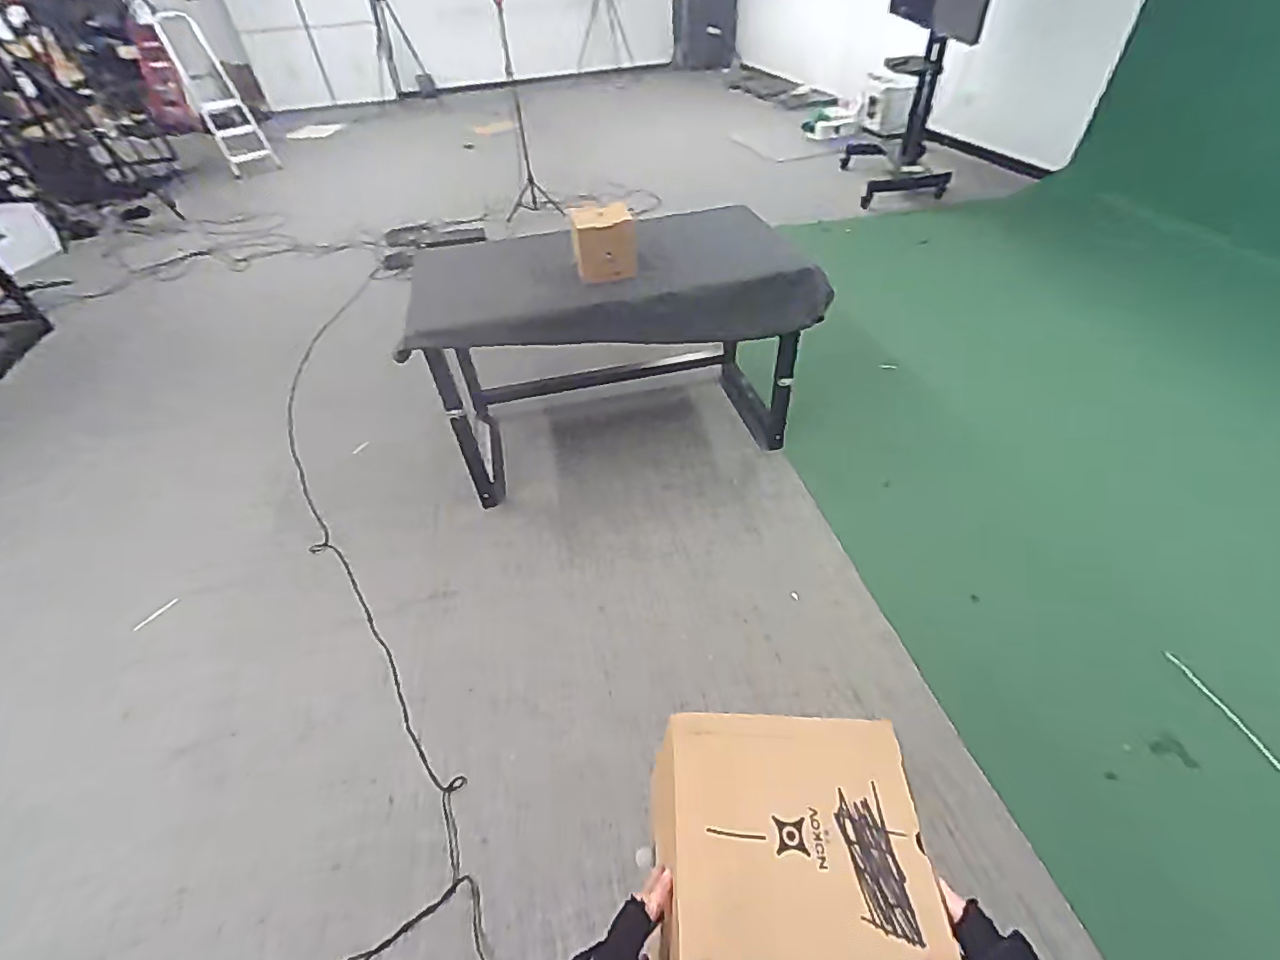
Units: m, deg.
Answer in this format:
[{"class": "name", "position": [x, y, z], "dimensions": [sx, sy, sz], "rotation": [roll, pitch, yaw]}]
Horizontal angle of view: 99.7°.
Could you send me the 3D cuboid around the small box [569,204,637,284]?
[{"class": "small box", "position": [-0.111, -0.710, 1.640], "dimensions": [0.168, 0.176, 0.179], "rotation": [-13, 45, -6]}]
